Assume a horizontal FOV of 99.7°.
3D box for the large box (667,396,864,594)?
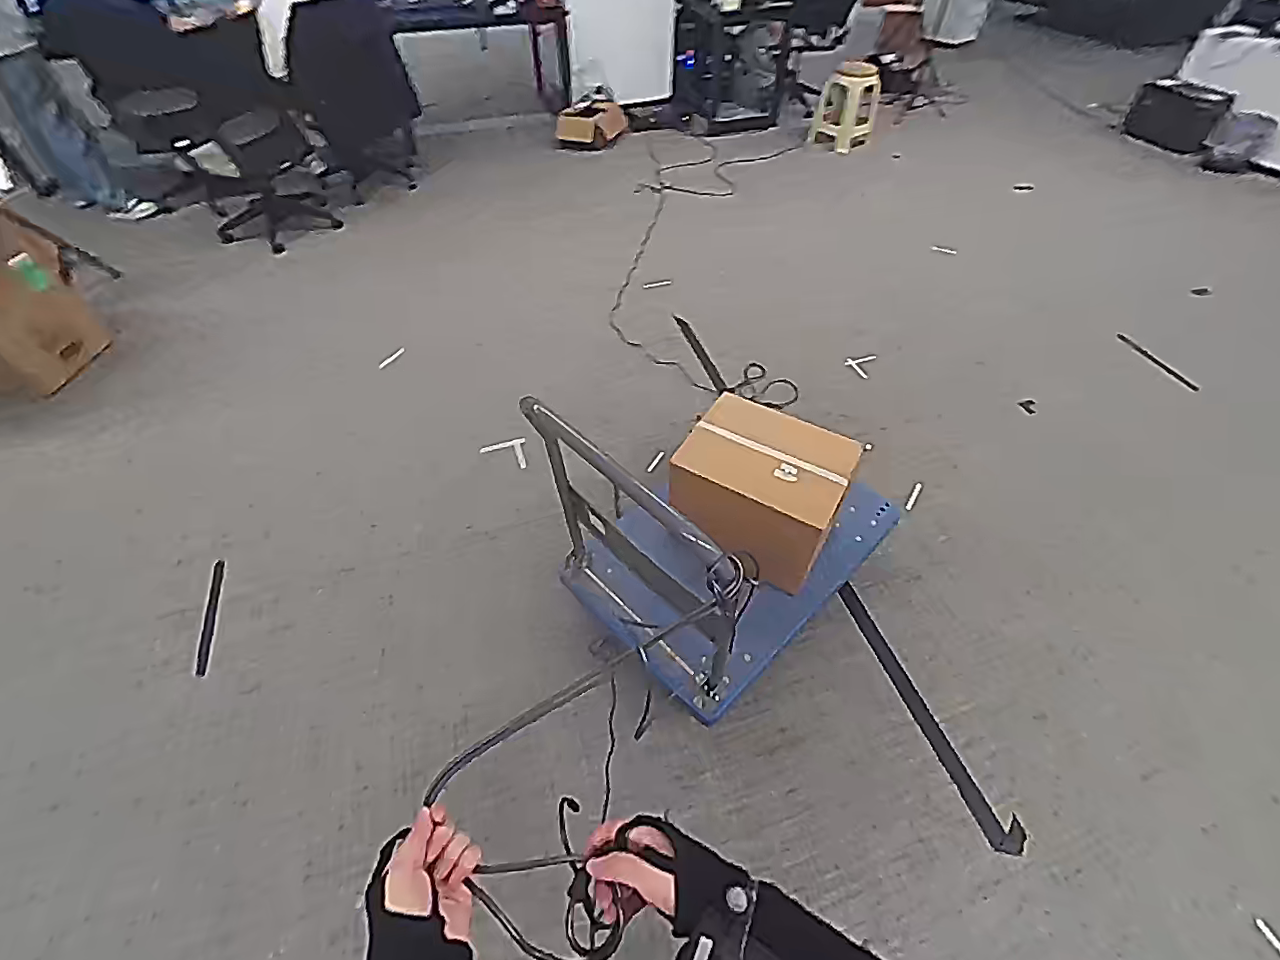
[{"bbox_3d":[0.321,0.036,1.466,0.408,0.320,0.320,25,55,20],"label":"large box"}]
